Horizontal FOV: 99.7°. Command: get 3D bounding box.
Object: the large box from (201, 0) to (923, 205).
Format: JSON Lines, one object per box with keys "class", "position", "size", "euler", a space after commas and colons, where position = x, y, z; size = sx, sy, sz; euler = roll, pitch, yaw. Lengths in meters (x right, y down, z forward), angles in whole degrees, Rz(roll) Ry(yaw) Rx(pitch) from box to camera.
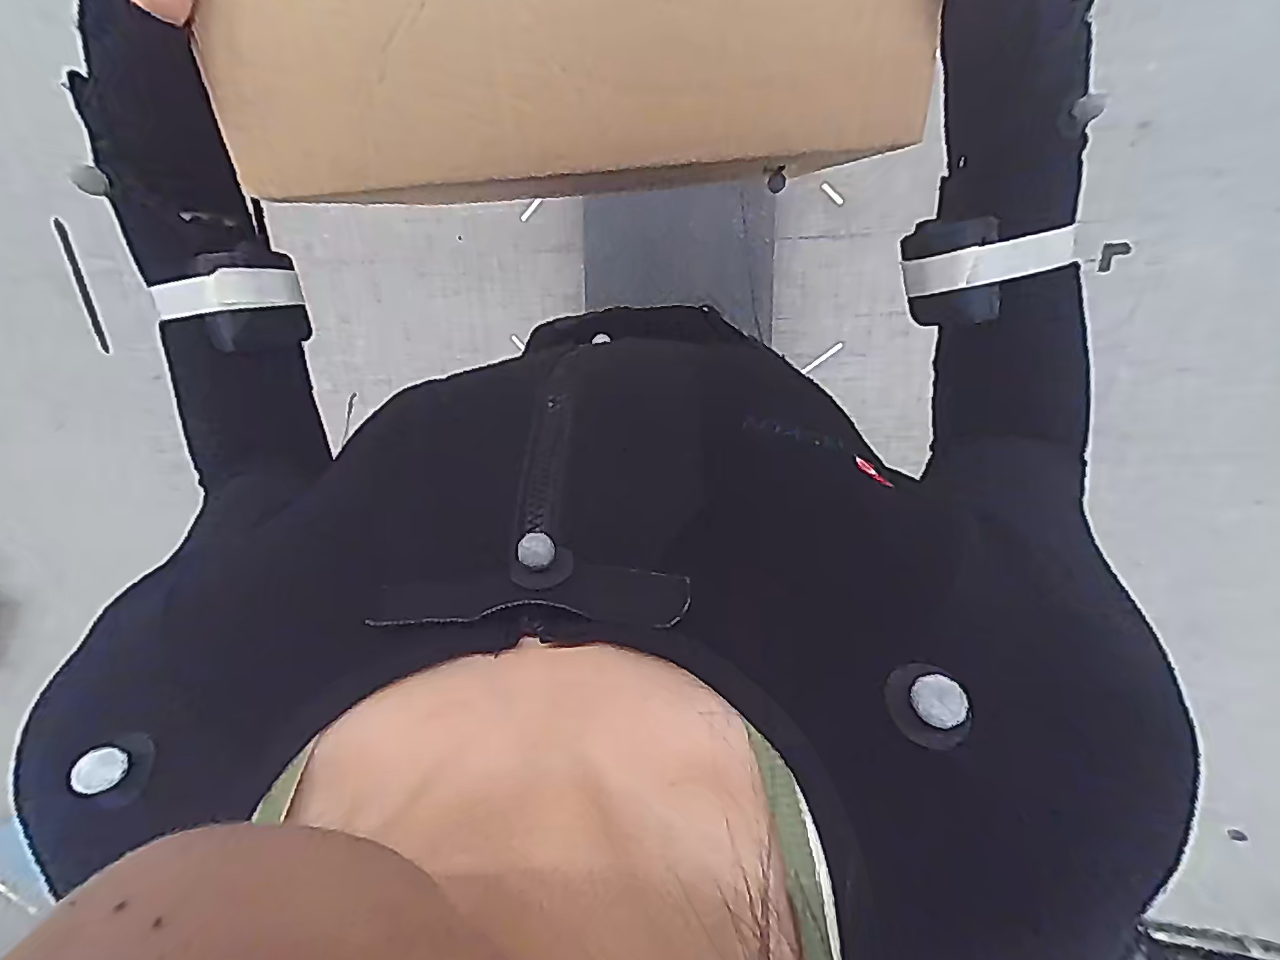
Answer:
{"class": "large box", "position": [-0.044, -0.394, 0.399], "size": [0.408, 0.320, 0.320], "euler": [-3, 116, 4]}
